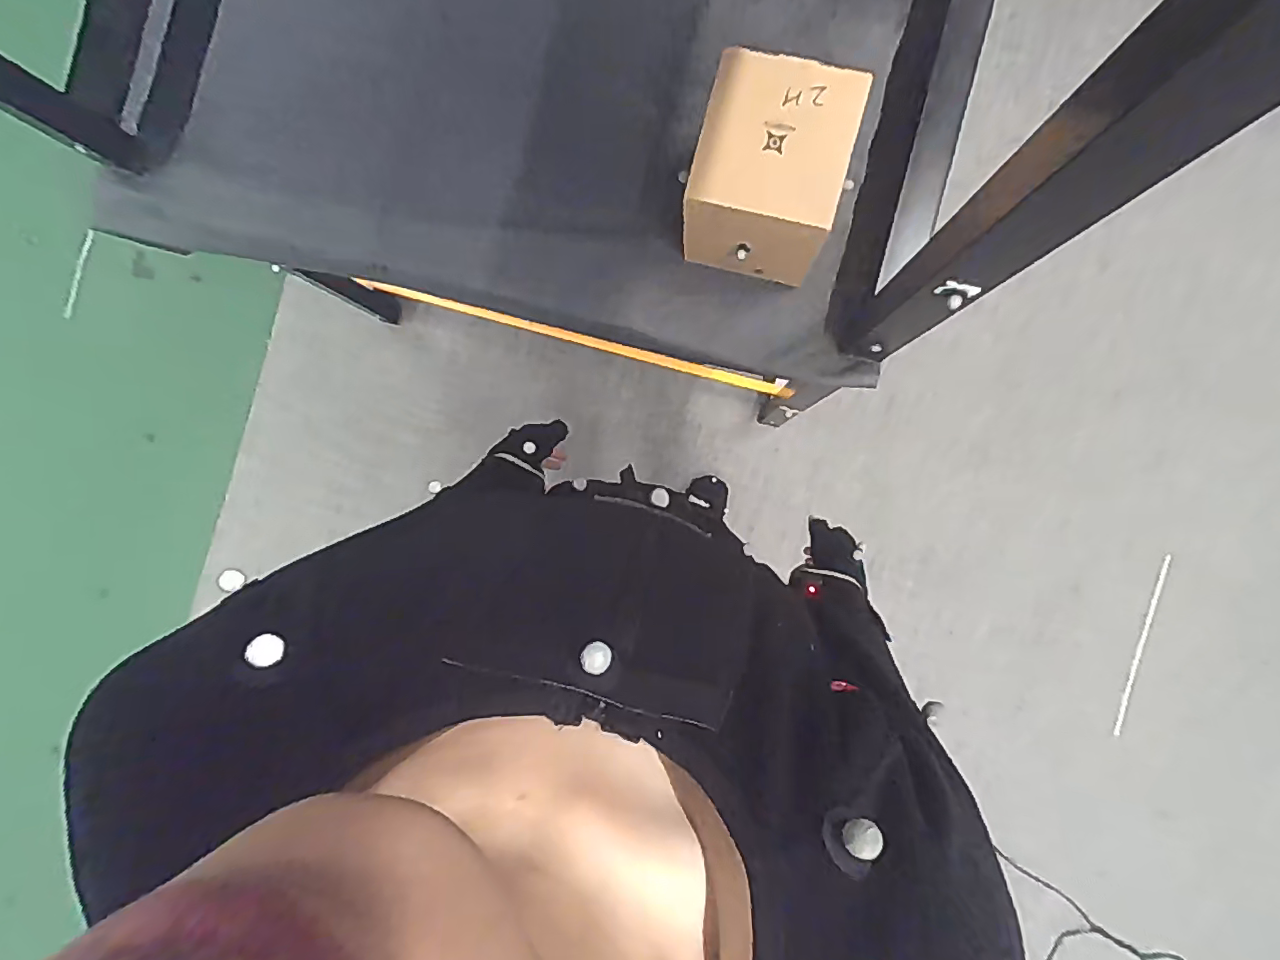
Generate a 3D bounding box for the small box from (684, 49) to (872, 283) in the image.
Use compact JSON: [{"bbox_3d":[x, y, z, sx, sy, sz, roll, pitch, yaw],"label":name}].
[{"bbox_3d":[0.157,-0.370,0.670,0.168,0.176,0.179,16,90,4],"label":"small box"}]
